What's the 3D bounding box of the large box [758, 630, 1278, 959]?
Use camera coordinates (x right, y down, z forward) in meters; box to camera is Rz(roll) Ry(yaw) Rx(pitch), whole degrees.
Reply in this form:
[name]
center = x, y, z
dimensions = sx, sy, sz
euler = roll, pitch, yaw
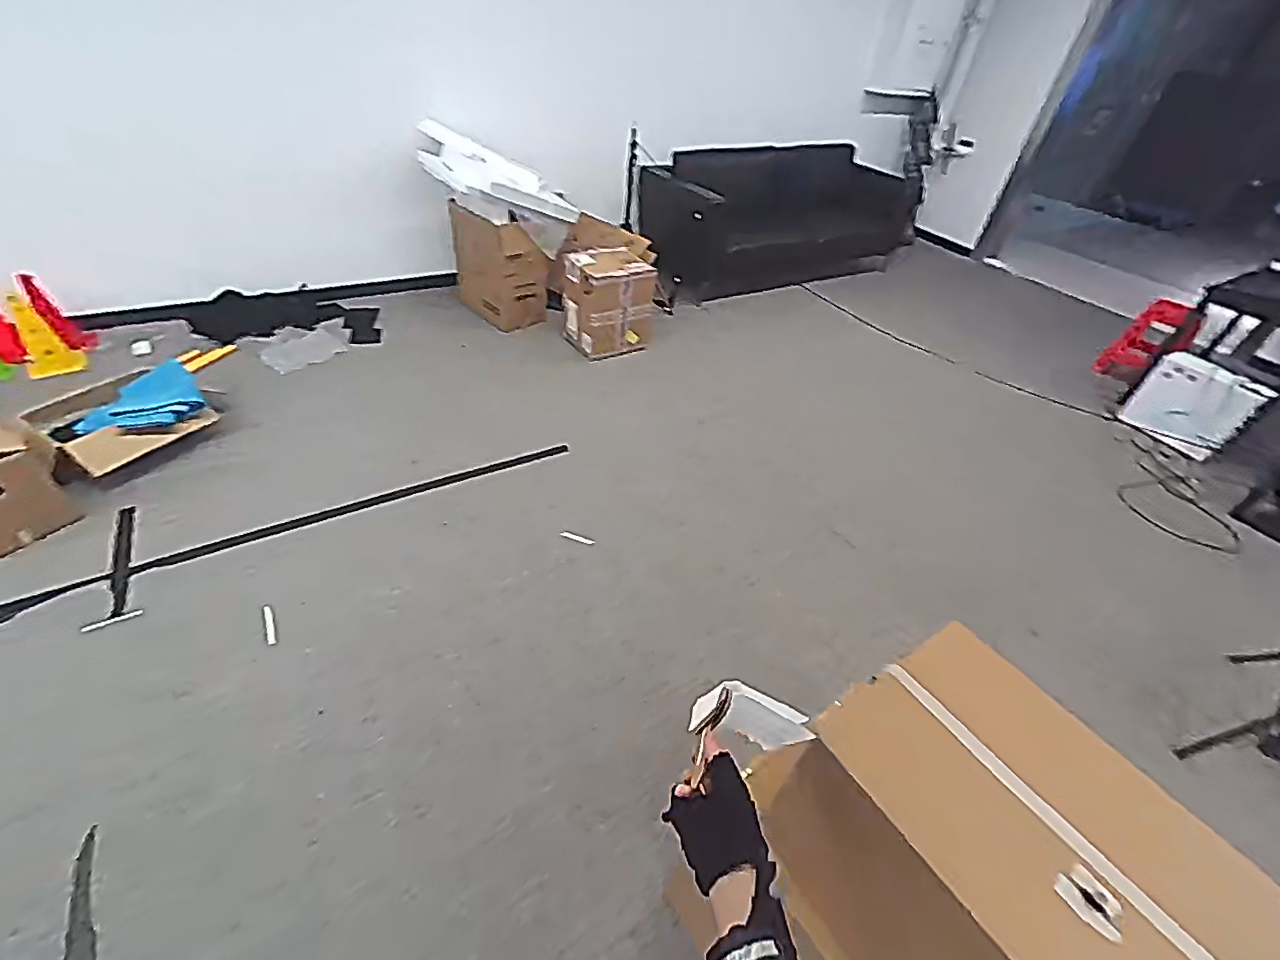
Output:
[large box]
center = 0.431, 0.492, 0.714
dimensions = 0.320, 0.320, 0.408
euler = -21, 48, -28
